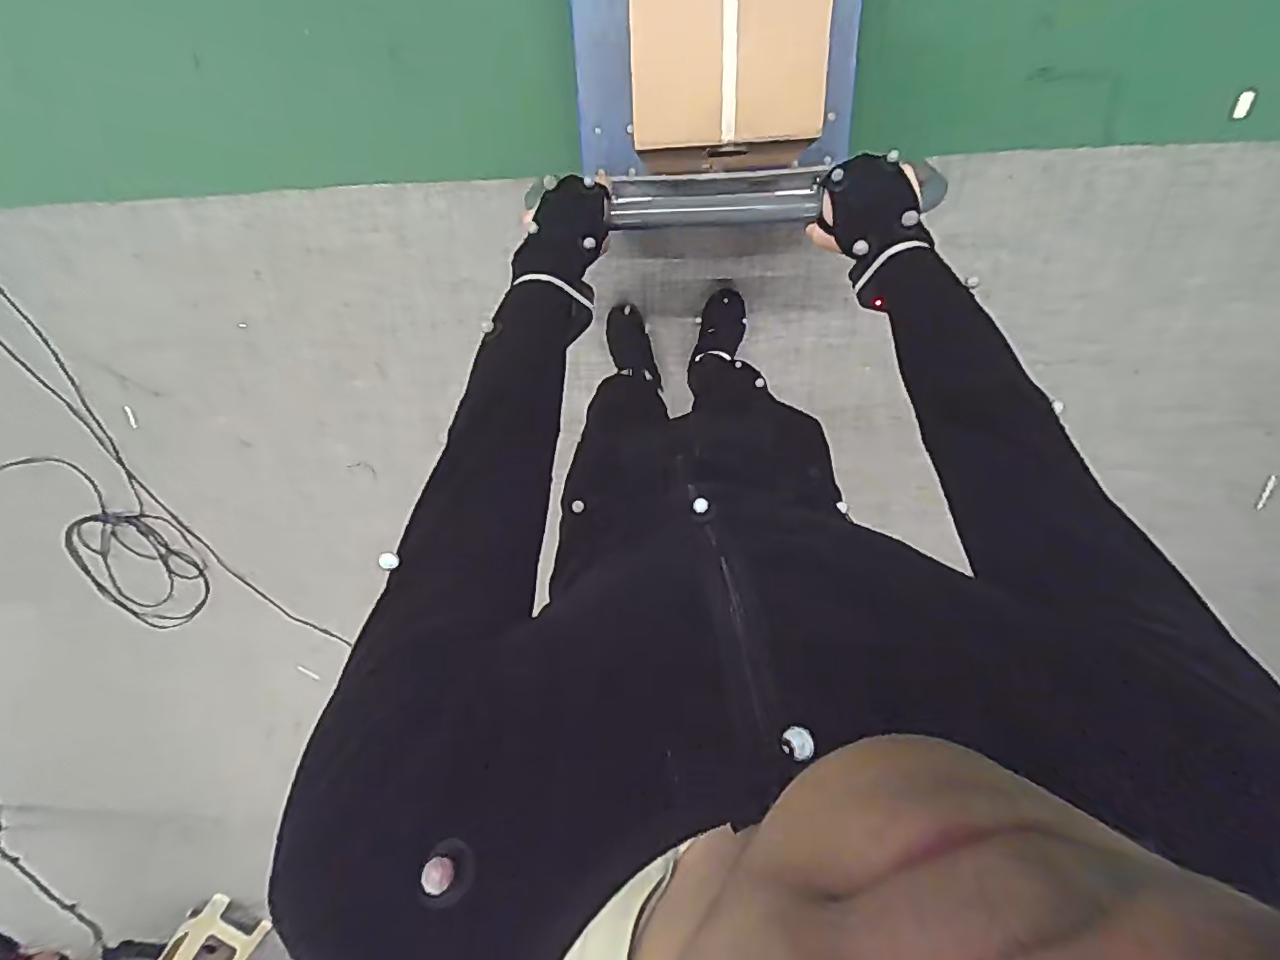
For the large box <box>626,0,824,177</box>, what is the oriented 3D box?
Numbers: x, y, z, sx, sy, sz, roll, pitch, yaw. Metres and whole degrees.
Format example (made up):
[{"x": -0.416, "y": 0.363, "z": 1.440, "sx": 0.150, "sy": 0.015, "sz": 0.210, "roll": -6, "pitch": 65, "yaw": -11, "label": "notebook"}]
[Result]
[{"x": 0.147, "y": -0.804, "z": 0.978, "sx": 0.320, "sy": 0.320, "sz": 0.408, "roll": 0, "pitch": 113, "yaw": 6, "label": "large box"}]
